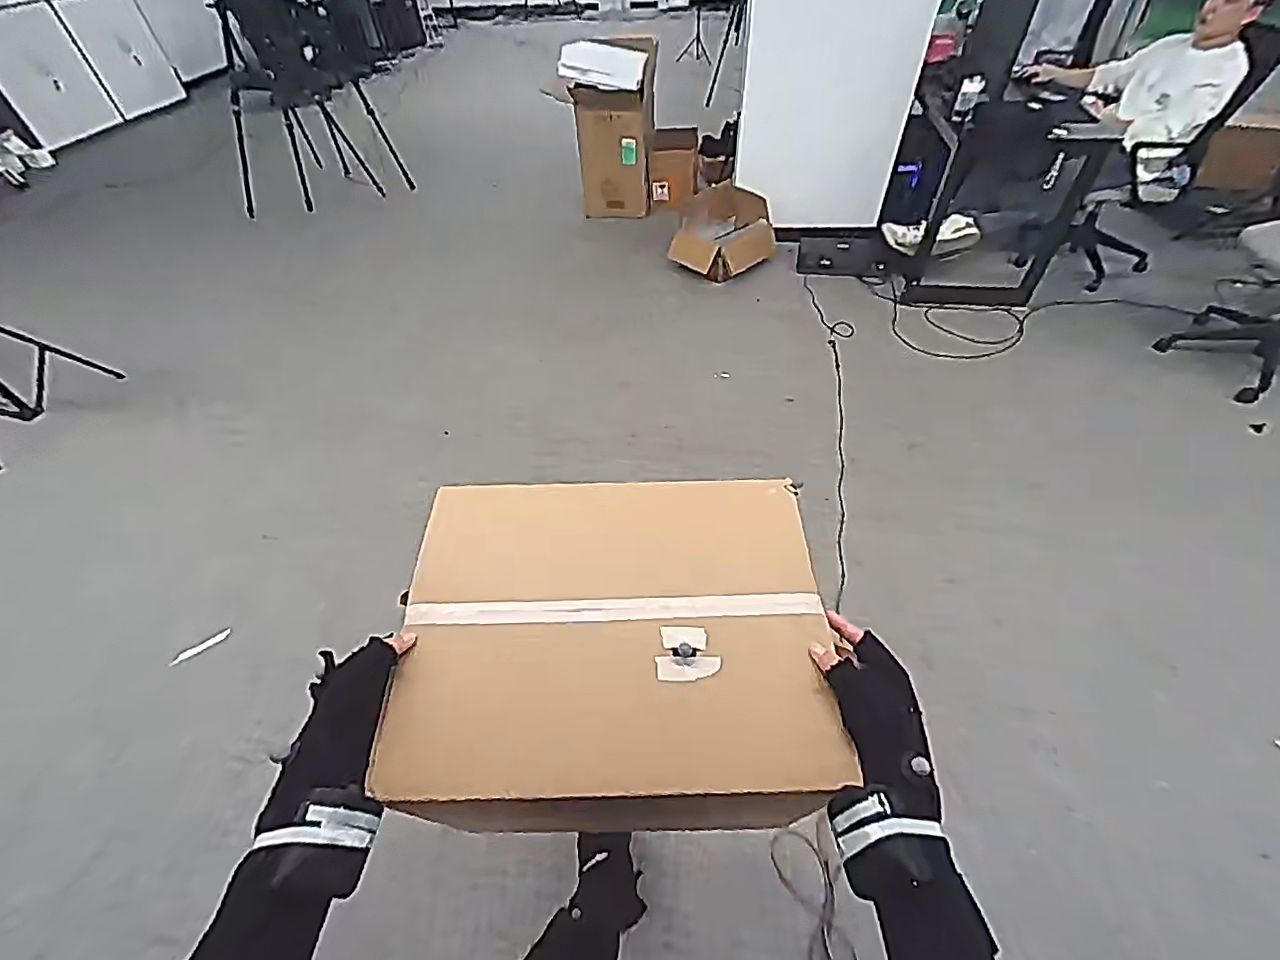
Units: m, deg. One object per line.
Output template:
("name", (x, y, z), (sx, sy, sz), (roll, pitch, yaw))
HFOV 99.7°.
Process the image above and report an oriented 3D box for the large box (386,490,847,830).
("large box", (-0.024, 0.228, 0.665), (0.408, 0.320, 0.320), (-1, 53, 0))
